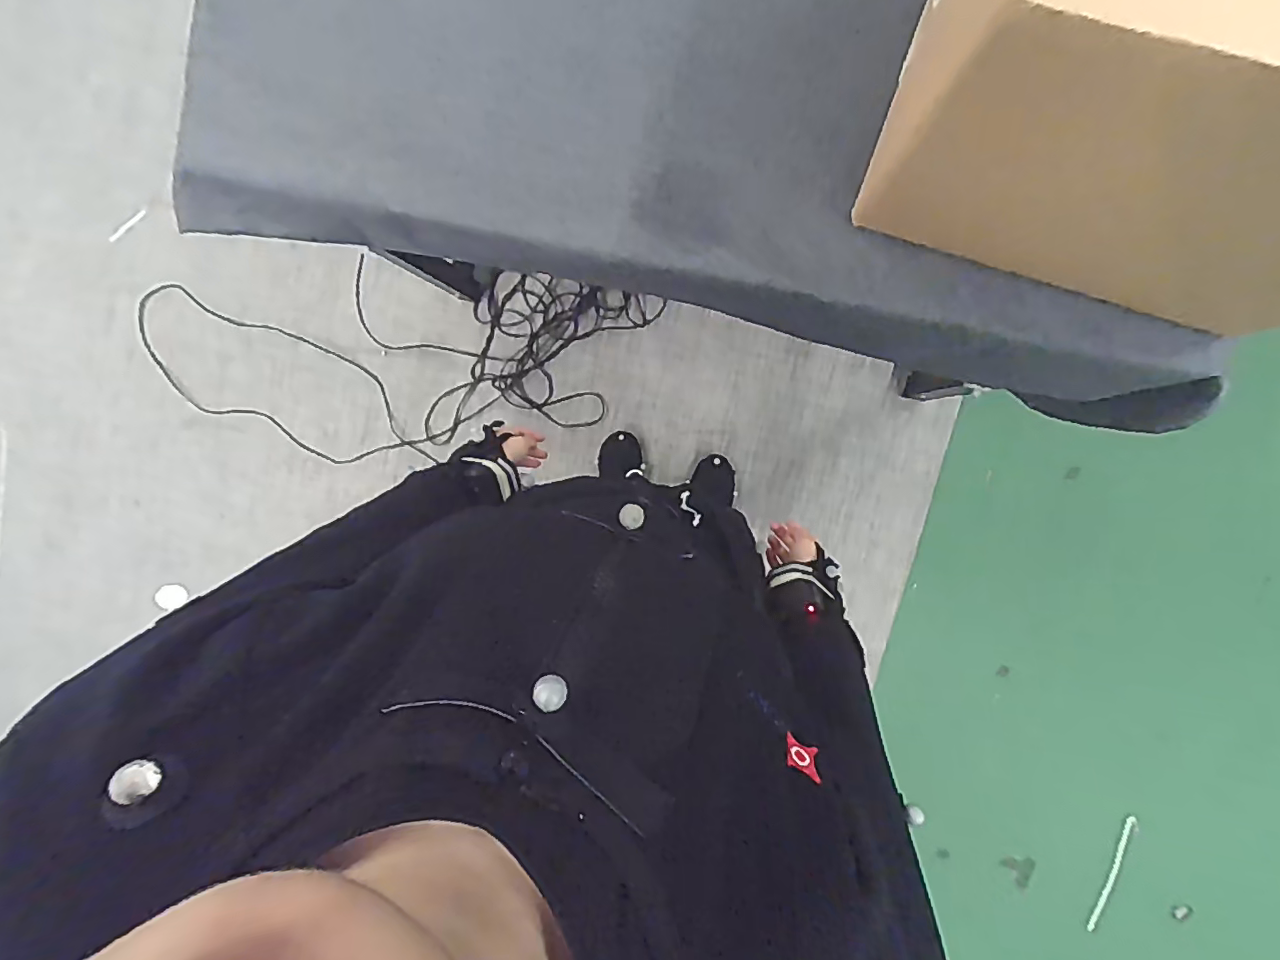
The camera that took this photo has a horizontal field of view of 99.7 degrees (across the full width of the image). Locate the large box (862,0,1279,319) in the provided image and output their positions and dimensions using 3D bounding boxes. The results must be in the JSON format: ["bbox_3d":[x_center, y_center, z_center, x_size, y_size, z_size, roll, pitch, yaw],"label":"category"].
[{"bbox_3d":[0.448,-0.352,0.400,0.408,0.320,0.320,19,97,4],"label":"large box"}]
